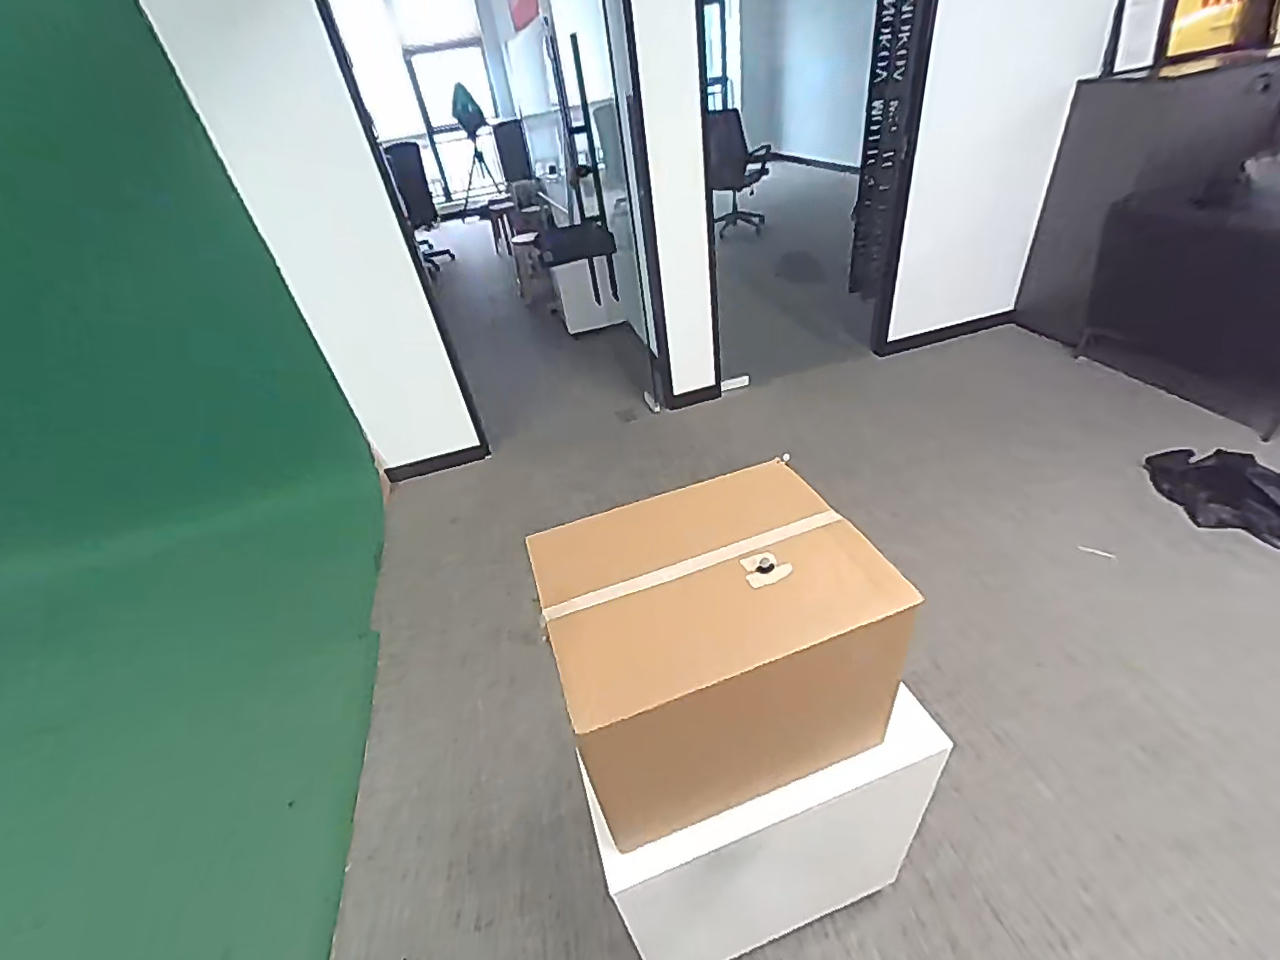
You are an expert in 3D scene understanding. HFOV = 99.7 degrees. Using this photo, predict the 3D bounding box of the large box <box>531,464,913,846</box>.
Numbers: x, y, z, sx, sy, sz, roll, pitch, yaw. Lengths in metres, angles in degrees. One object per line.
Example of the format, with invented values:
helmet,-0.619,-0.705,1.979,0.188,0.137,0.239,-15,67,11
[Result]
large box,0.094,0.229,0.774,0.408,0.320,0.320,-16,38,-12
